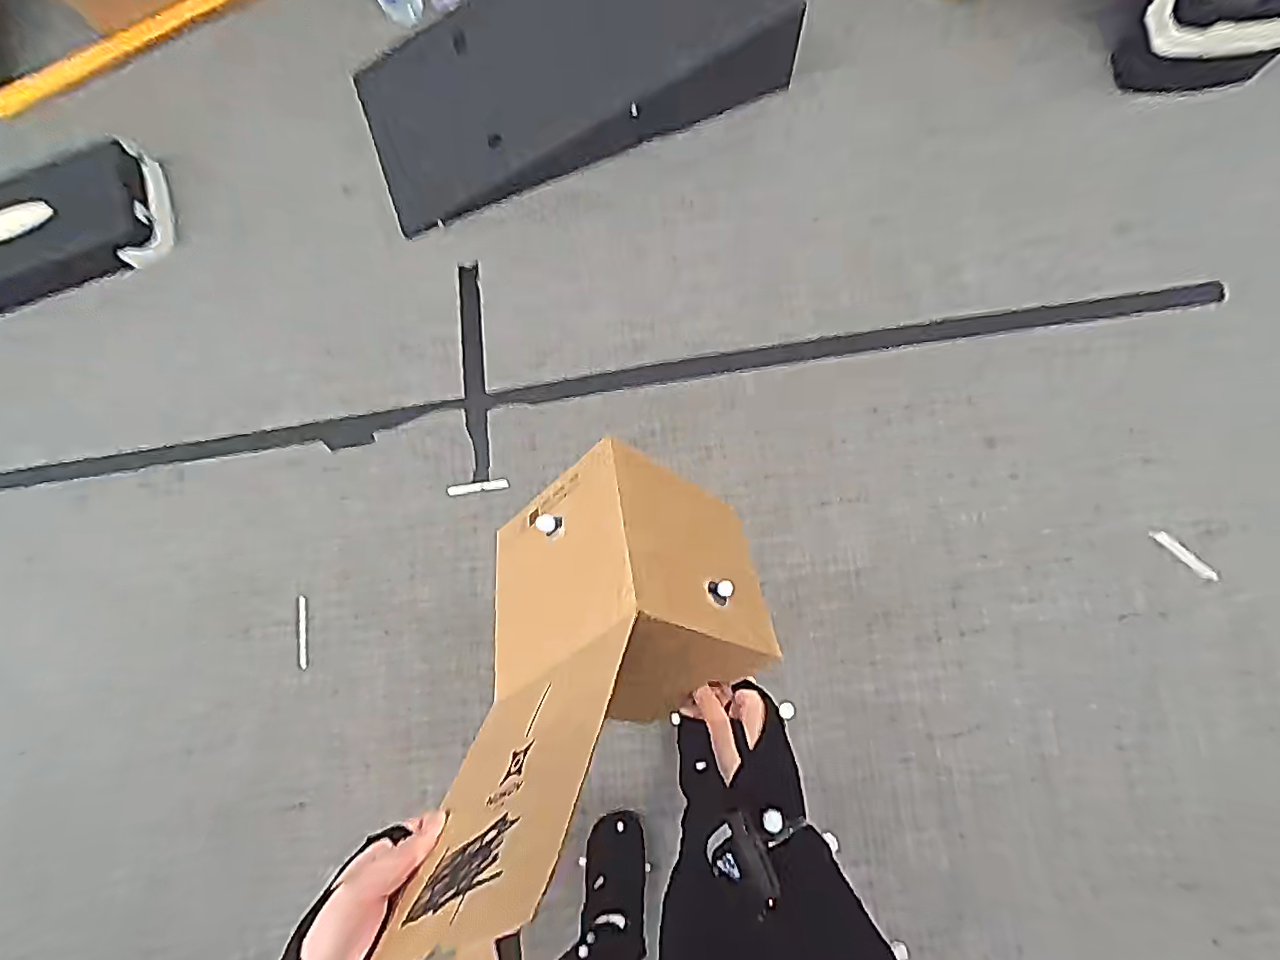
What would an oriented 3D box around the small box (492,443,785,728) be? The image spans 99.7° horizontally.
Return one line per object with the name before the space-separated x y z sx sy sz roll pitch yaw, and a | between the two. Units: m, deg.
small box | -0.008 0.096 0.474 0.168 0.179 0.176 -39 41 27
